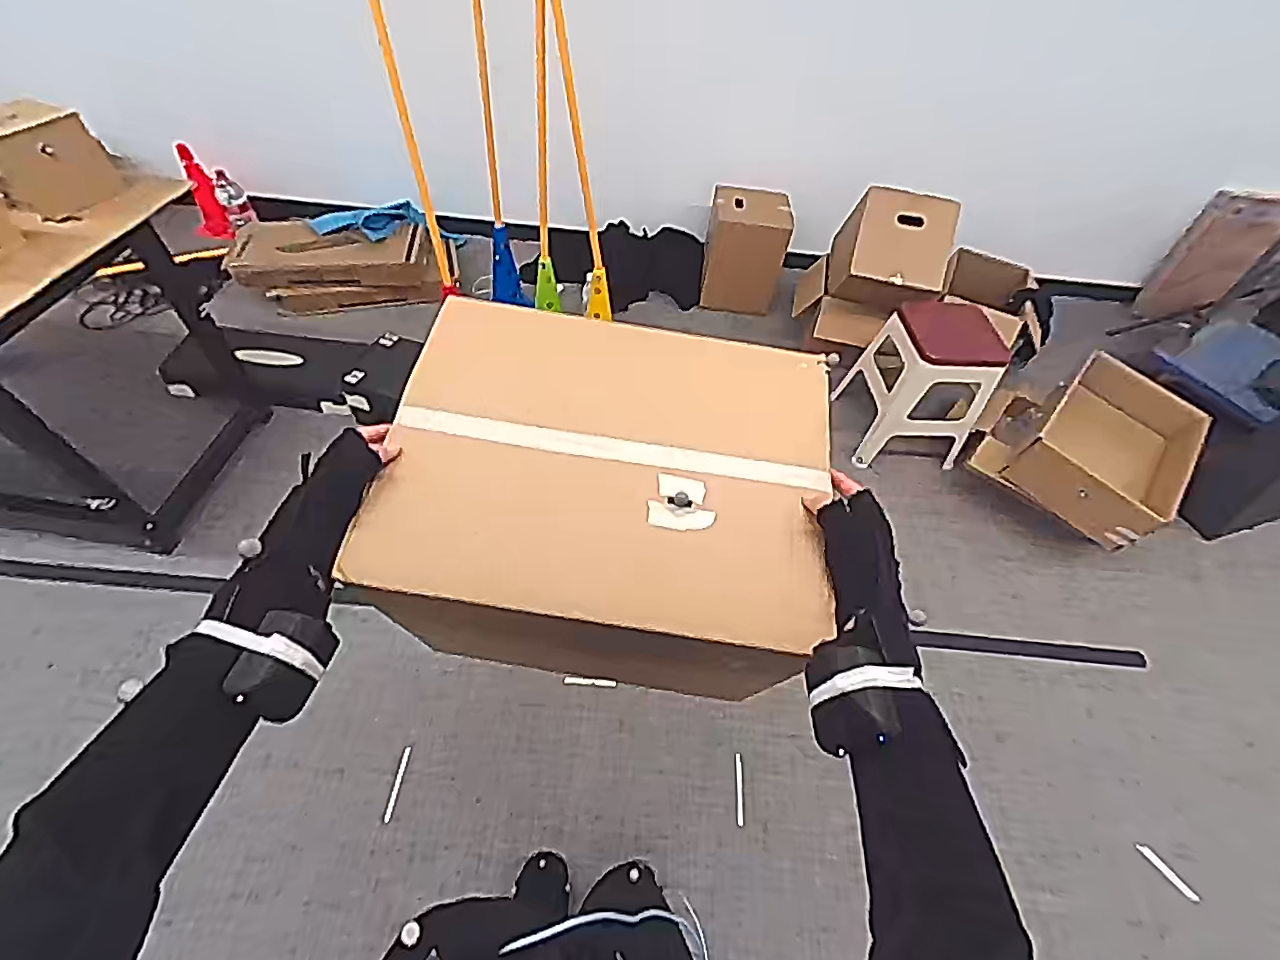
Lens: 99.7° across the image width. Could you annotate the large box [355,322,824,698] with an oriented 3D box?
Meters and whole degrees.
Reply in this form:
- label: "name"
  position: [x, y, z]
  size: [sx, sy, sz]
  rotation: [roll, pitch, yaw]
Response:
- label: "large box"
  position: [-0.037, 0.056, 0.649]
  size: [0.408, 0.320, 0.320]
  rotation: [9, 62, 0]
